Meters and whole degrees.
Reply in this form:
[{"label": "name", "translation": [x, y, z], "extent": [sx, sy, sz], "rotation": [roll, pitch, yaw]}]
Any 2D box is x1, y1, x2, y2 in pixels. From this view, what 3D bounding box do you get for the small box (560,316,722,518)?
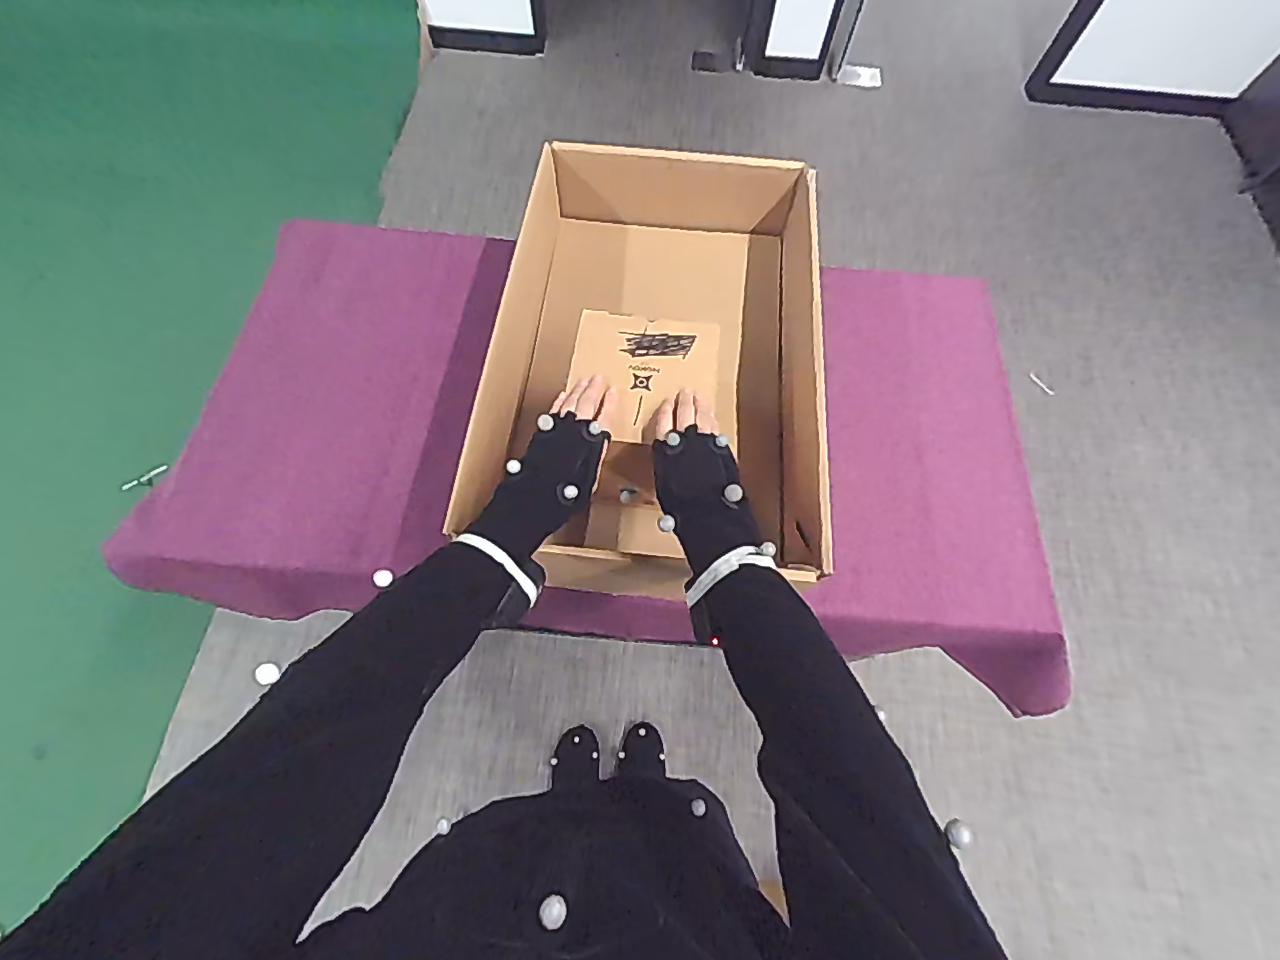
[{"label": "small box", "translation": [0.003, -0.072, 0.670], "extent": [0.168, 0.176, 0.179], "rotation": [7, 64, 1]}]
